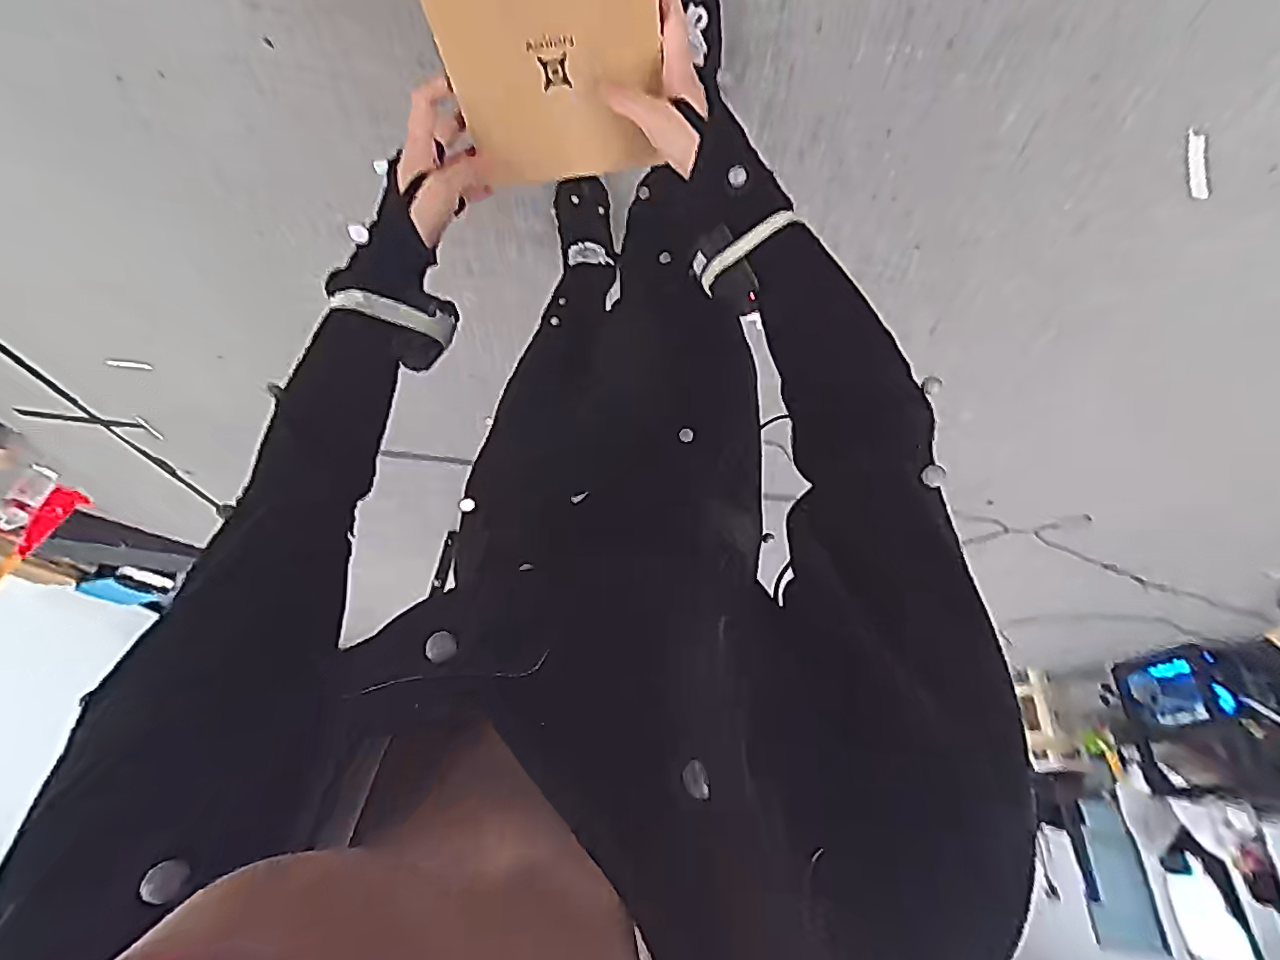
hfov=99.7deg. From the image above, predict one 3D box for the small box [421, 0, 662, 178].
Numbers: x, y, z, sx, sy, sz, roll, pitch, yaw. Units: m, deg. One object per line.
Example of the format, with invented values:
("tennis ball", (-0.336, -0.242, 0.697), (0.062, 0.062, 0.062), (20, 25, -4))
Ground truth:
("small box", (-0.070, -0.391, 0.448), (0.168, 0.176, 0.179), (-5, 151, 4))
